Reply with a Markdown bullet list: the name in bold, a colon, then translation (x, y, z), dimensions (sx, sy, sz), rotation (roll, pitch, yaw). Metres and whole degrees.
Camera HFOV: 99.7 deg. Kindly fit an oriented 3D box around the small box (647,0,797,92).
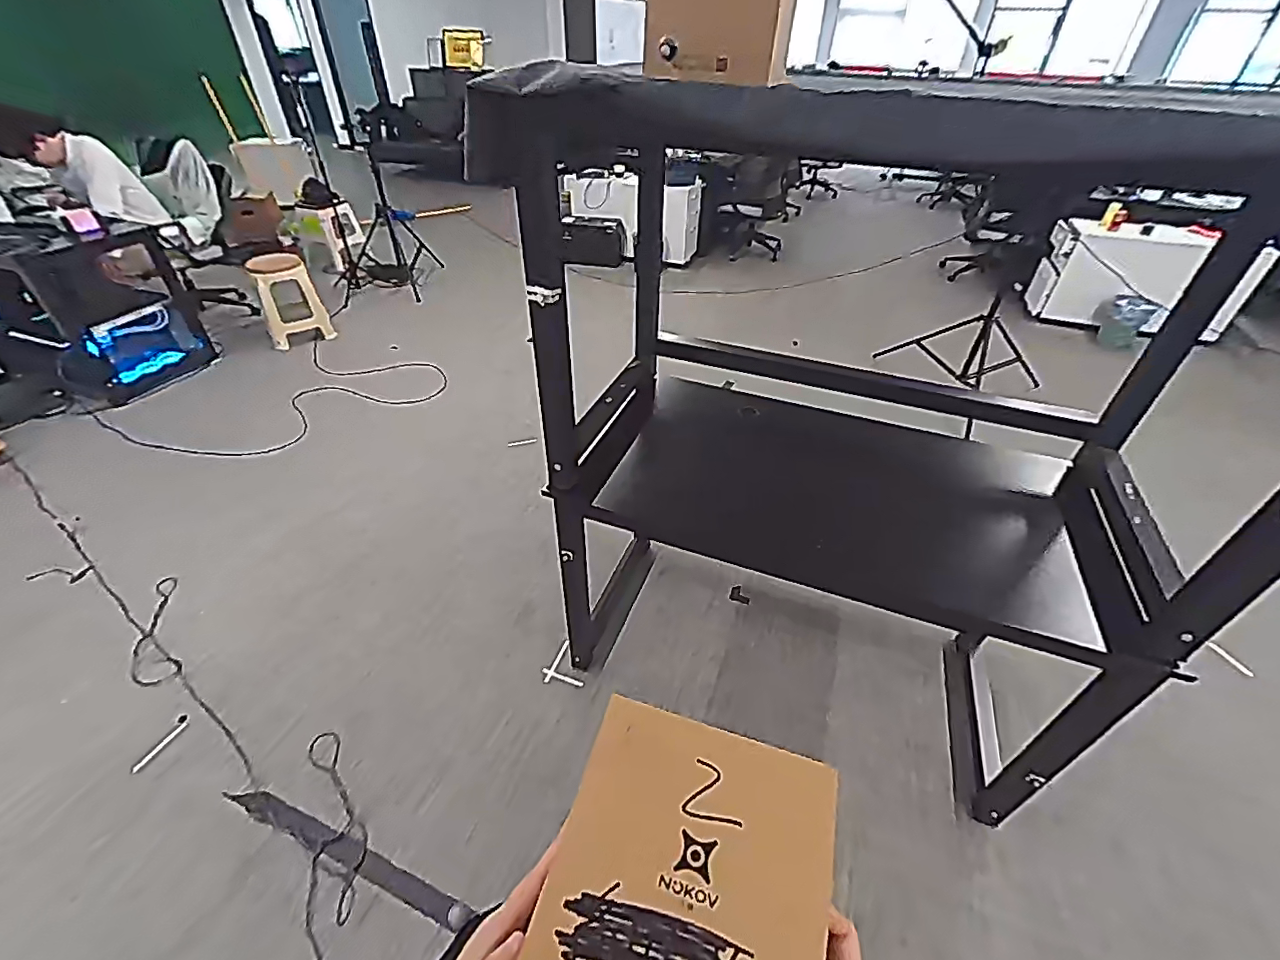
- **small box**: translation (0.111, -0.612, 0.701), dimensions (0.168, 0.176, 0.179), rotation (14, 39, 13)
